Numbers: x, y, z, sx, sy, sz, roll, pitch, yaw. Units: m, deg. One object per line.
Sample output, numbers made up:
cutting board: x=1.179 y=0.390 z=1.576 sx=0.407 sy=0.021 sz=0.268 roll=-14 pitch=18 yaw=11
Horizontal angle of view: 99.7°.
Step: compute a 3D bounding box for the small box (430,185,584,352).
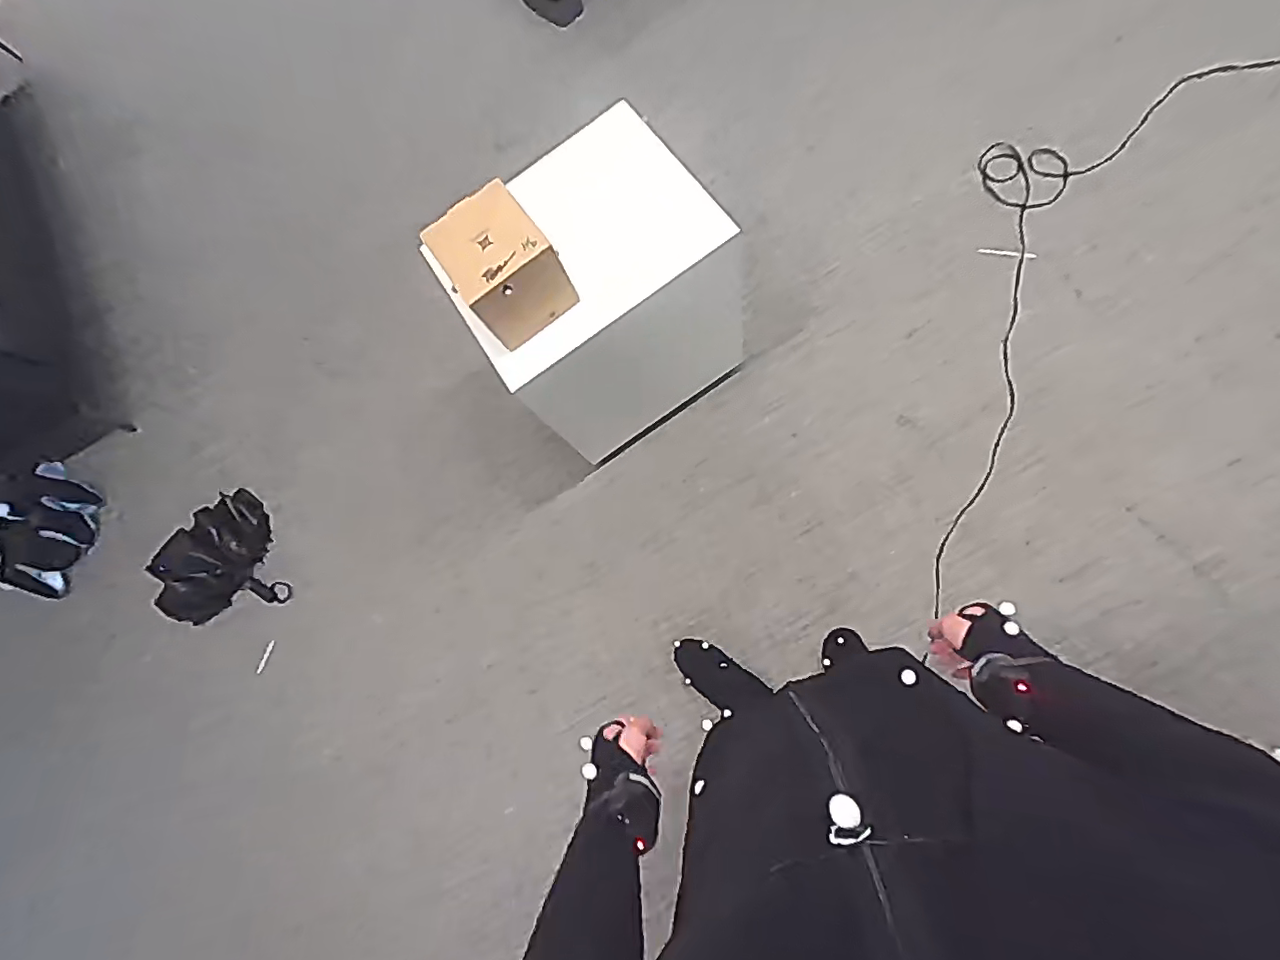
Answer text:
small box: x=-0.226 y=-0.361 z=0.951 sx=0.168 sy=0.176 sz=0.179 roll=-36 pitch=72 yaw=2
